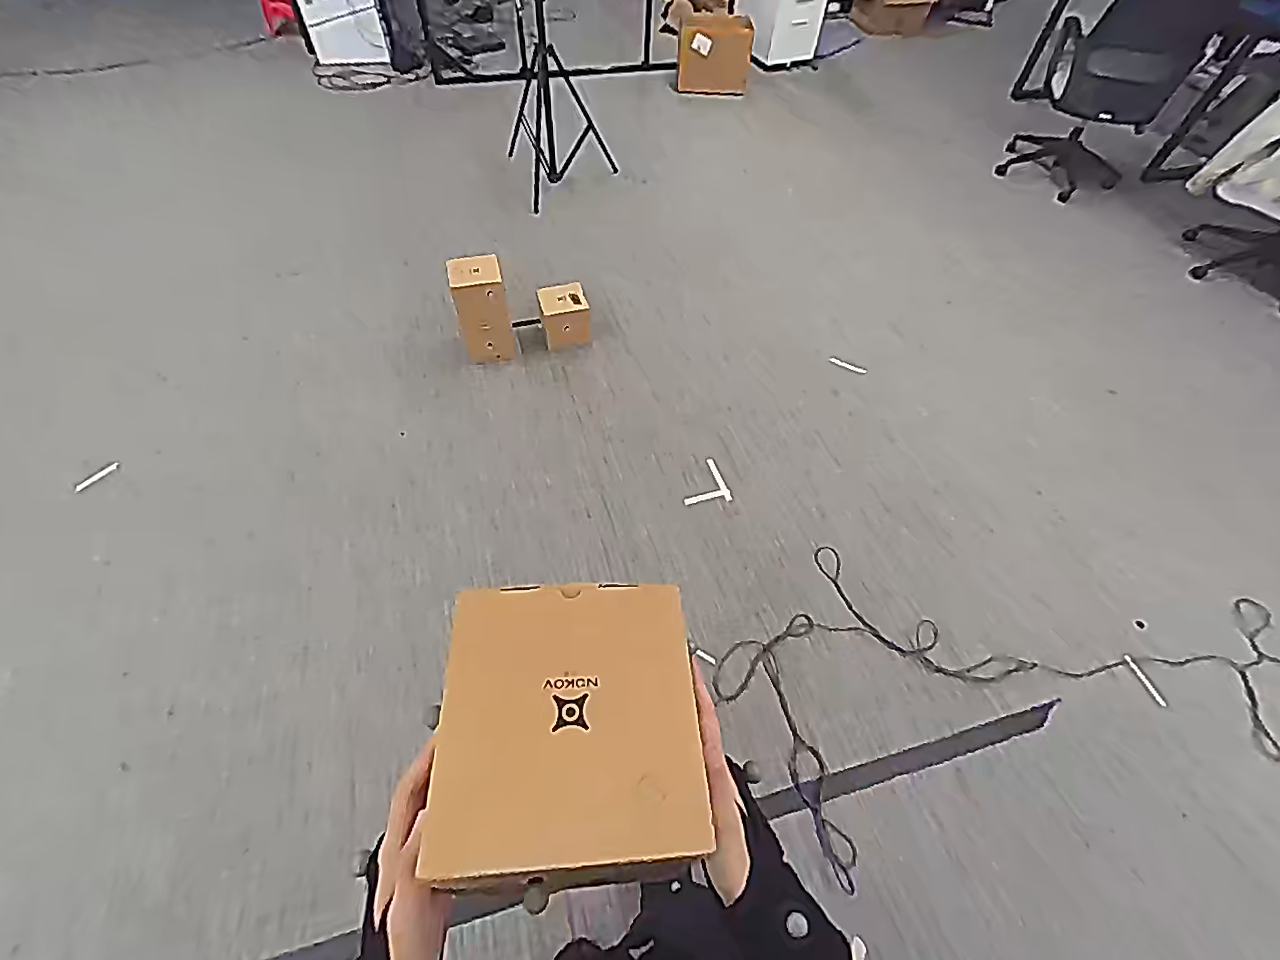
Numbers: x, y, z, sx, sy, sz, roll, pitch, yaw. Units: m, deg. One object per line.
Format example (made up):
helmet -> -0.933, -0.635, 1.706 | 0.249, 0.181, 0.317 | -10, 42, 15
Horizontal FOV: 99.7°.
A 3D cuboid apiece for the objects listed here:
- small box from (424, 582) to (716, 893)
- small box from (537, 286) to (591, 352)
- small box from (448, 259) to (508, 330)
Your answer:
small box -> -0.049, 0.197, 0.411 | 0.168, 0.176, 0.179 | -1, 49, -7
small box -> -0.293, -0.627, 2.113 | 0.179, 0.176, 0.168 | -13, 57, -10
small box -> -0.571, -0.658, 1.923 | 0.179, 0.176, 0.168 | -12, 55, -10
